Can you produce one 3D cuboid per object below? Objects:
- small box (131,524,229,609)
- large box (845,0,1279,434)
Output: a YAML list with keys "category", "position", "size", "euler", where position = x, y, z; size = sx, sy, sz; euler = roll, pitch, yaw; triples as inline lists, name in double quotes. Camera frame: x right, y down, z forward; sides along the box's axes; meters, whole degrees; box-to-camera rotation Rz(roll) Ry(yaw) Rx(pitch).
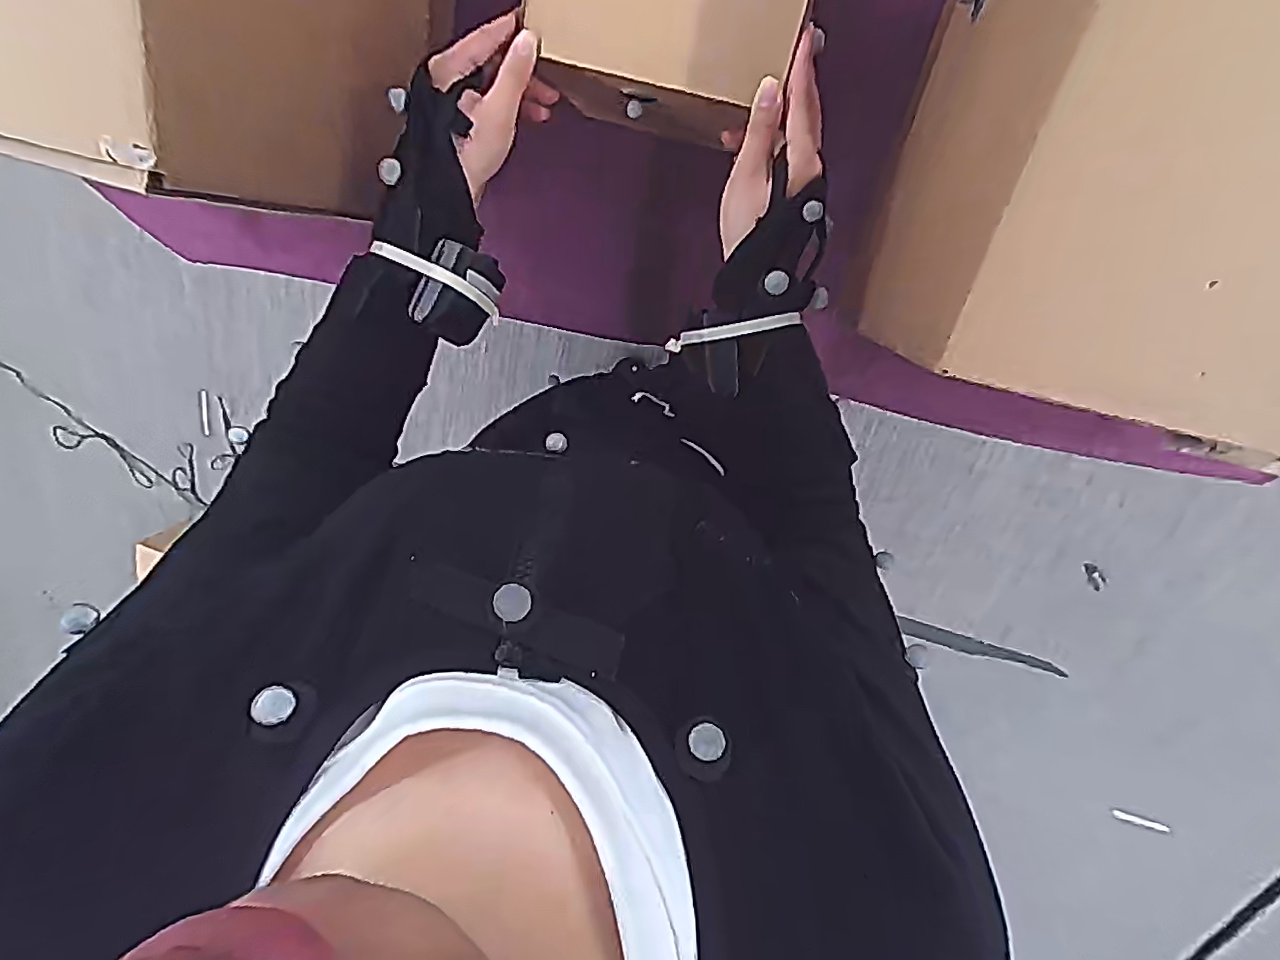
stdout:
- category: "small box"
  position: [-1.424, 0.262, 1.683]
  size: [0.168, 0.176, 0.179]
  euler: [21, 114, 2]
- category: "large box"
  position: [0.349, -0.245, 0.295]
  size: [0.320, 0.320, 0.408]
  euler: [15, 111, 4]
